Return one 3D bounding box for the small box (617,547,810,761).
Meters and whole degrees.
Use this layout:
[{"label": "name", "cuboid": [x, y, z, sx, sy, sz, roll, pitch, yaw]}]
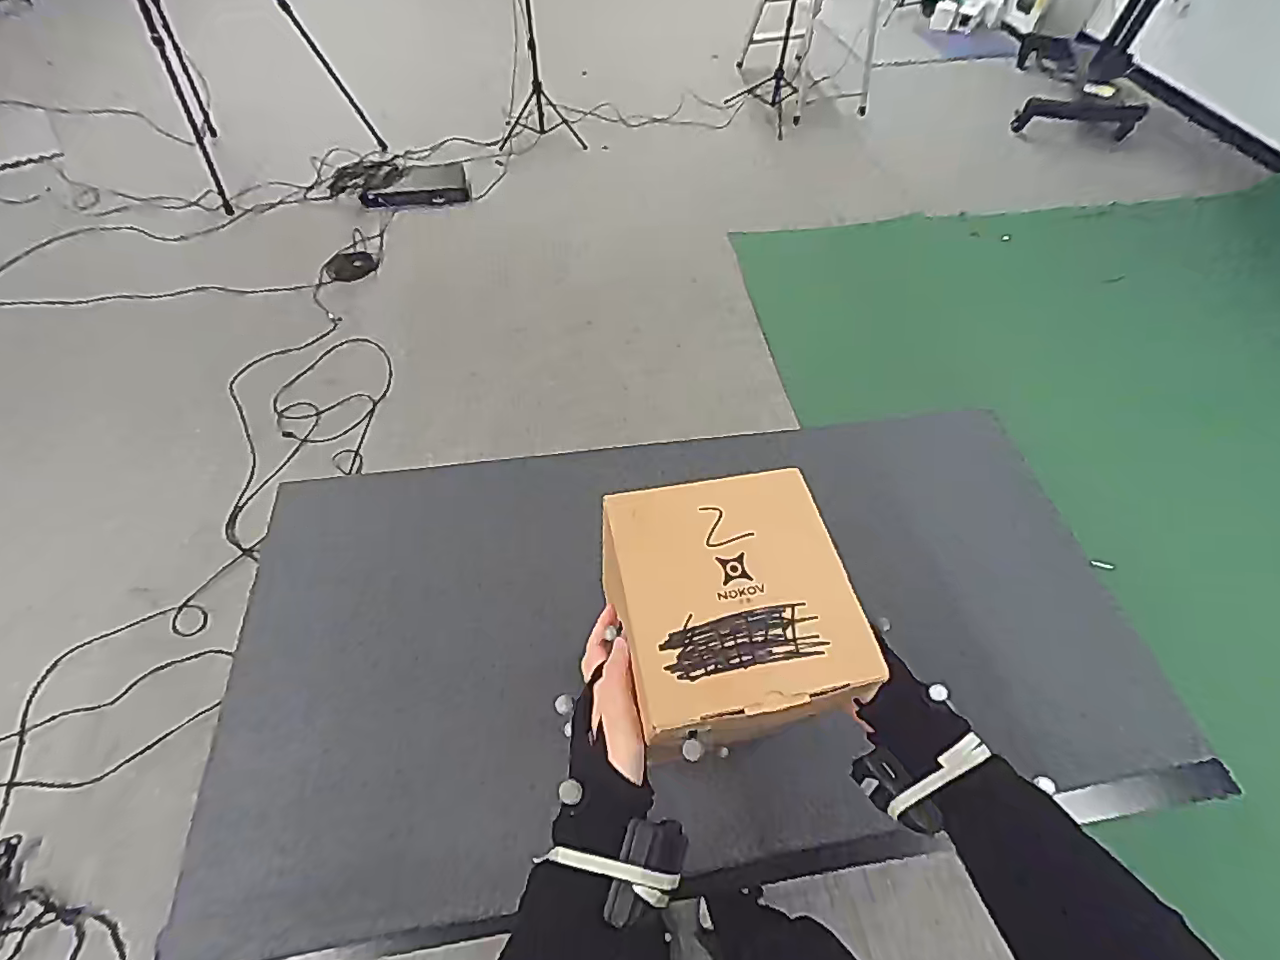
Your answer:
[{"label": "small box", "cuboid": [0.068, 0.203, 0.626, 0.168, 0.176, 0.179, -10, 56, -8]}]
